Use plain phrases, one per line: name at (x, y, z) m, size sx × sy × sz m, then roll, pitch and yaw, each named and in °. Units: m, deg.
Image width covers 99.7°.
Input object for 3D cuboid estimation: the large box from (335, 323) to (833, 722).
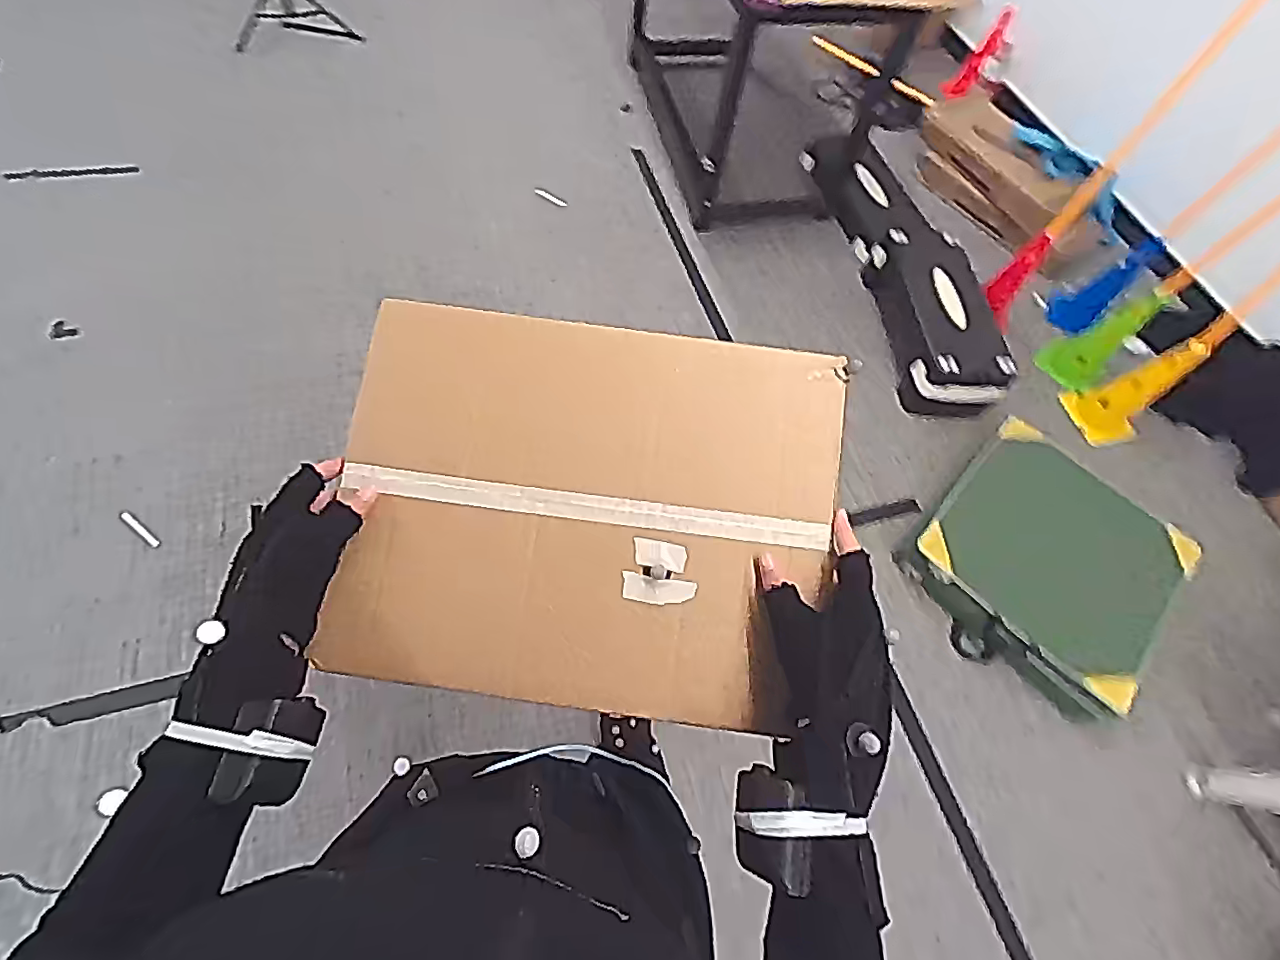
large box at (-0.042, 0.051, 0.612) m, size 0.408 × 0.320 × 0.320 m, roll 7°, pitch 82°, yaw 1°
